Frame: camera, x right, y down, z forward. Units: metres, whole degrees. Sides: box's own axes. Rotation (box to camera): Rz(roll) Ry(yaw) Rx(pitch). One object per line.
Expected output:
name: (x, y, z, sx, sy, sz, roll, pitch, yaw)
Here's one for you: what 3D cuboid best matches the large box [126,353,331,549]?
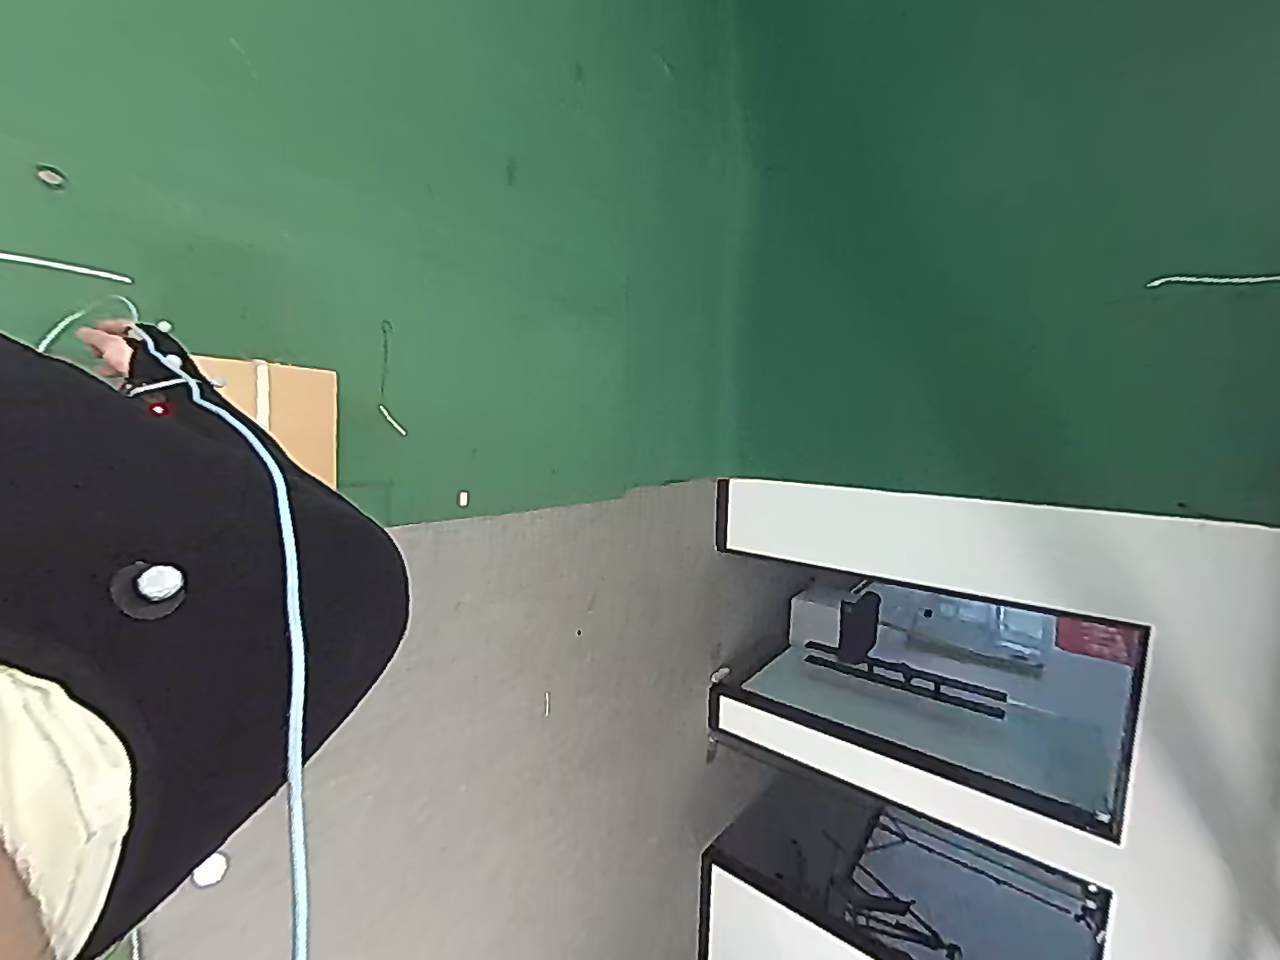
large box: (-0.967, -0.079, 1.282, 0.320, 0.320, 0.408, -5, 99, -53)
